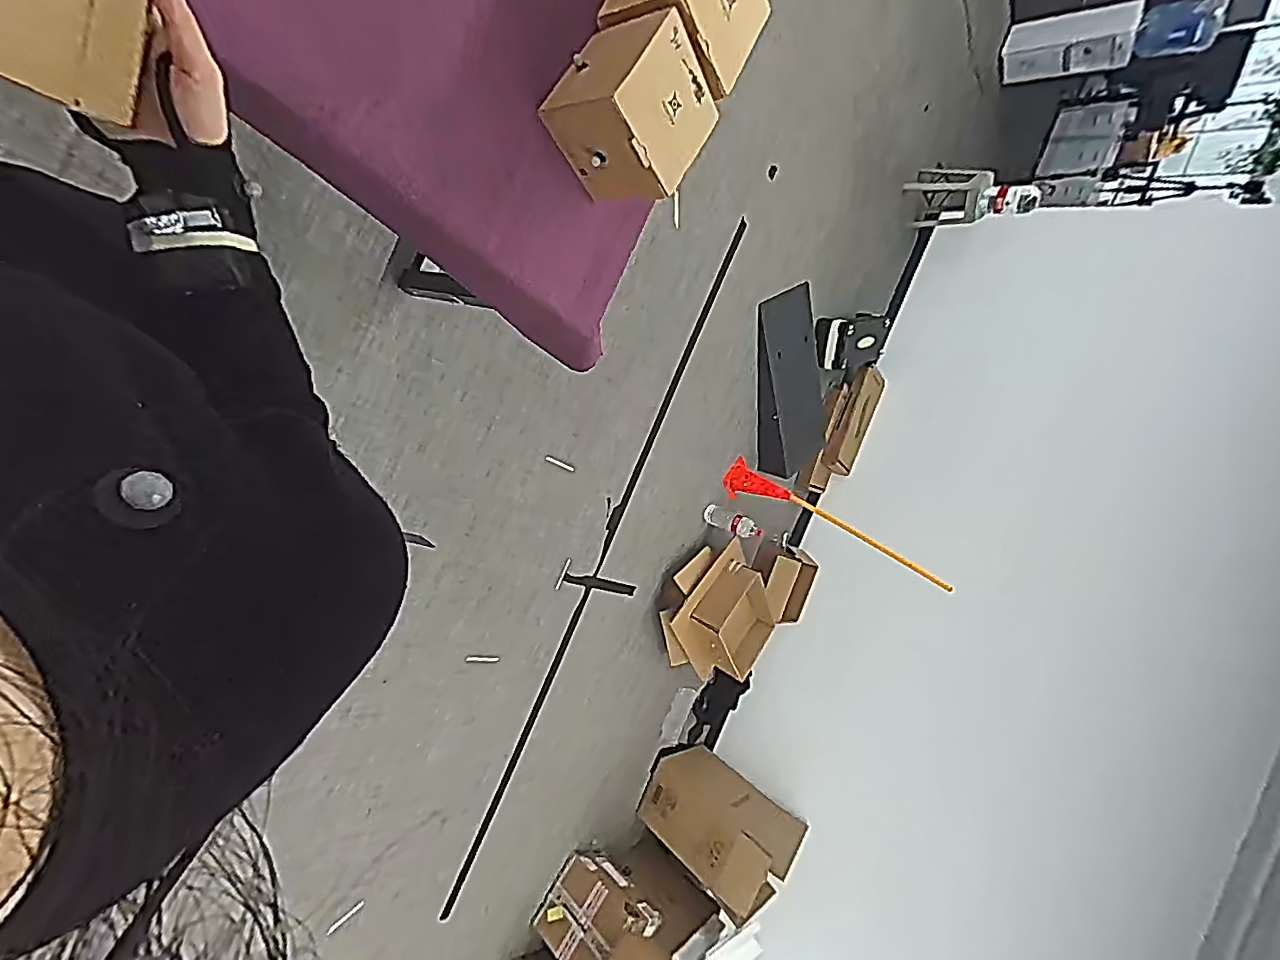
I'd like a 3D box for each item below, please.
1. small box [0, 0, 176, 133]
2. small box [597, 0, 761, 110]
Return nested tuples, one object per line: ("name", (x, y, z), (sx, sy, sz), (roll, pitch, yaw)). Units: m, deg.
("small box", (-0.318, -0.288, 0.238), (0.168, 0.176, 0.179), (13, 107, -41))
("small box", (0.060, -0.732, 0.855), (0.168, 0.176, 0.179), (33, 80, -52))
